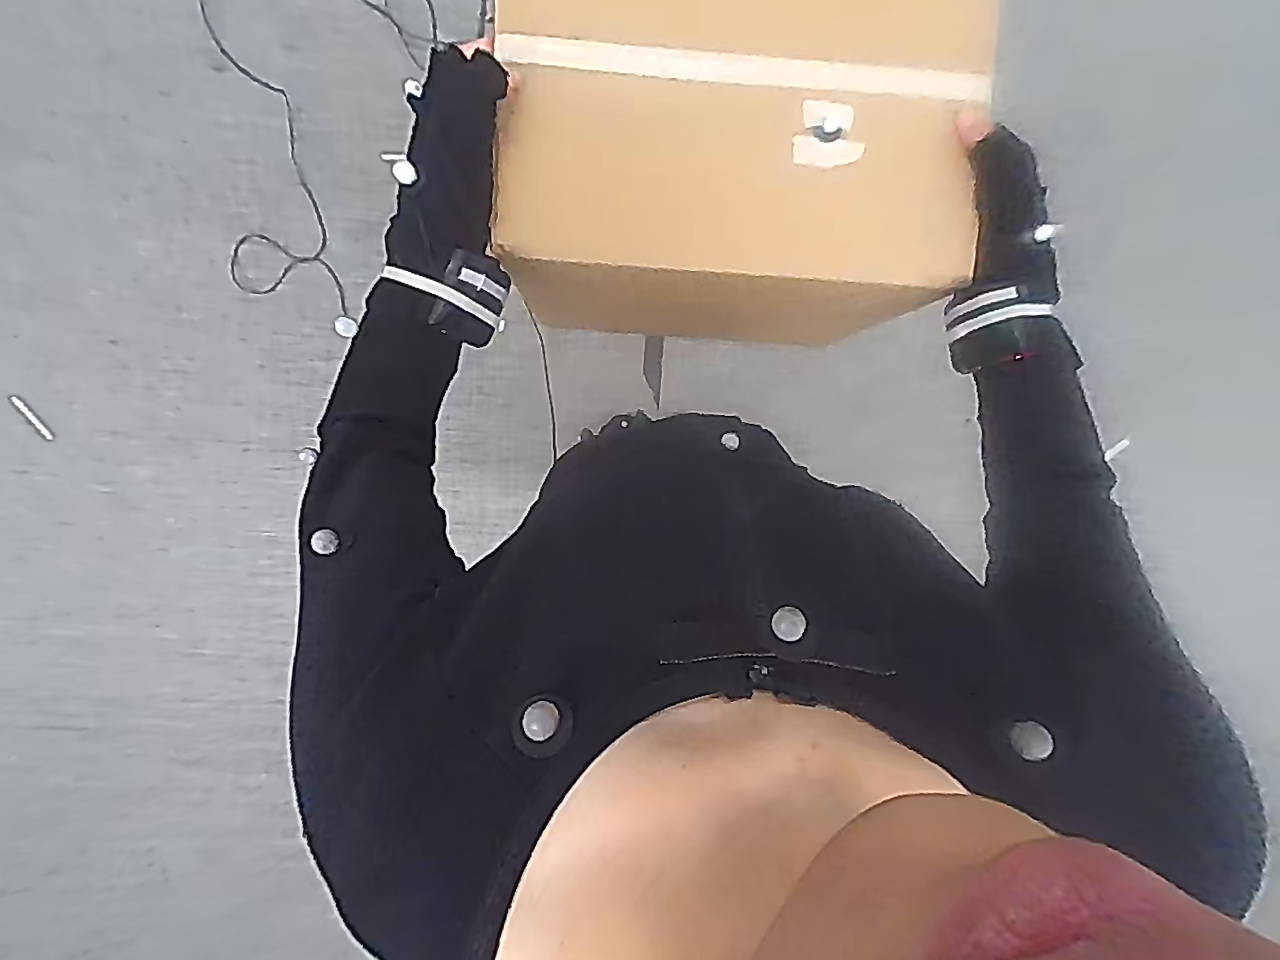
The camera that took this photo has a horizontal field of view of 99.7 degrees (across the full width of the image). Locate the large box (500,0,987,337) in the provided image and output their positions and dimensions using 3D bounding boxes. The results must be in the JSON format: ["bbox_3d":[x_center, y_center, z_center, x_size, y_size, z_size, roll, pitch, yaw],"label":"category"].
[{"bbox_3d":[0.078,-0.348,0.594,0.408,0.320,0.320,3,95,-3],"label":"large box"}]
